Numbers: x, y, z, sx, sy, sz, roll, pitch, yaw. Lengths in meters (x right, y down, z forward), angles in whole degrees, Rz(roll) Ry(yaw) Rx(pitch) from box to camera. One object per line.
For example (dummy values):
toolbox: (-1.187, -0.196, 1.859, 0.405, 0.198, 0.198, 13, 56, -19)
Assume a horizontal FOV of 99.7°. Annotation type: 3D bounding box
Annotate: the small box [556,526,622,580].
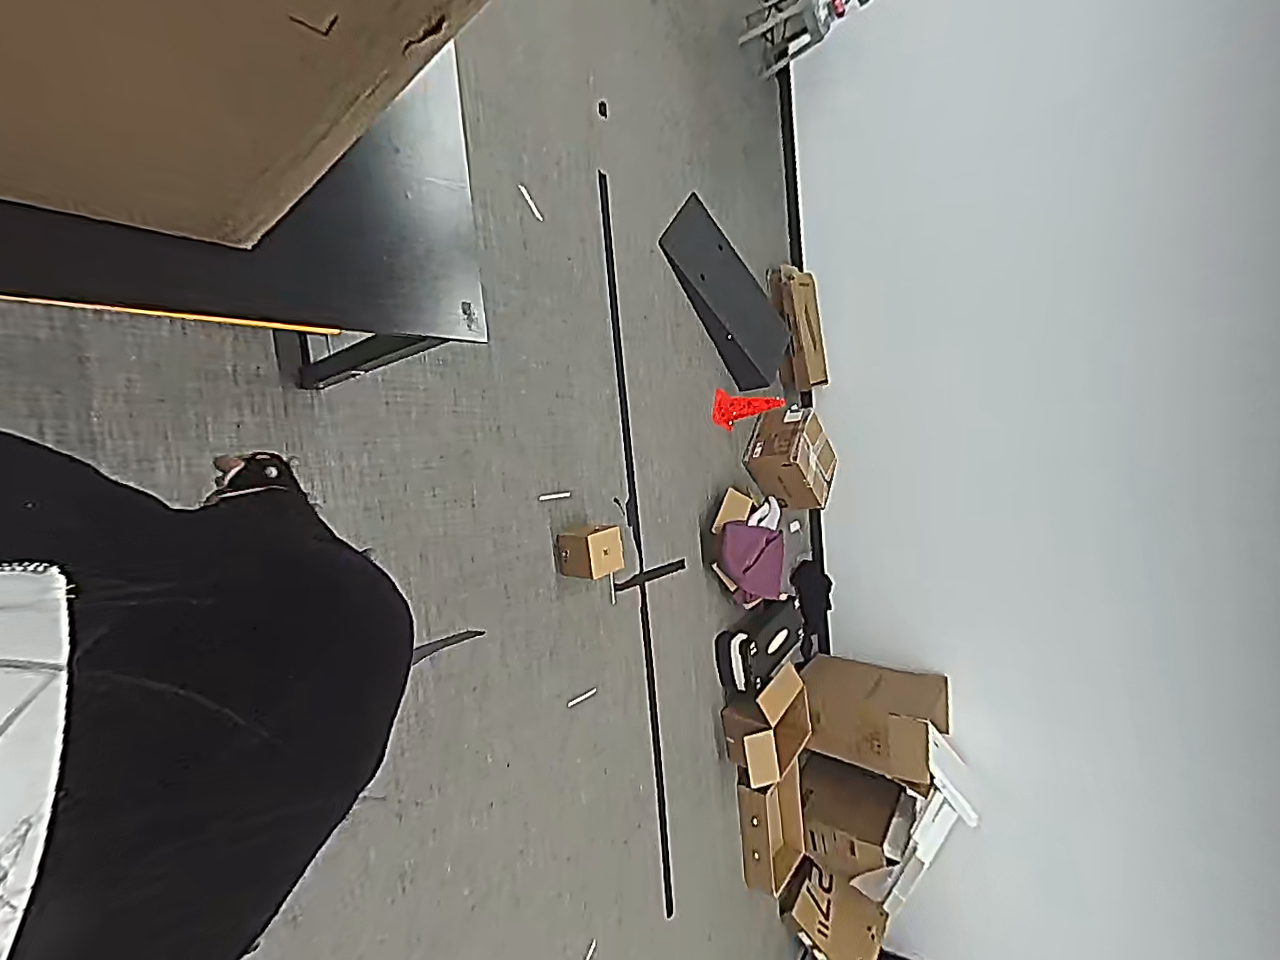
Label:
small box: (-0.193, 0.271, 2.052, 0.179, 0.176, 0.168, -14, 98, -49)
